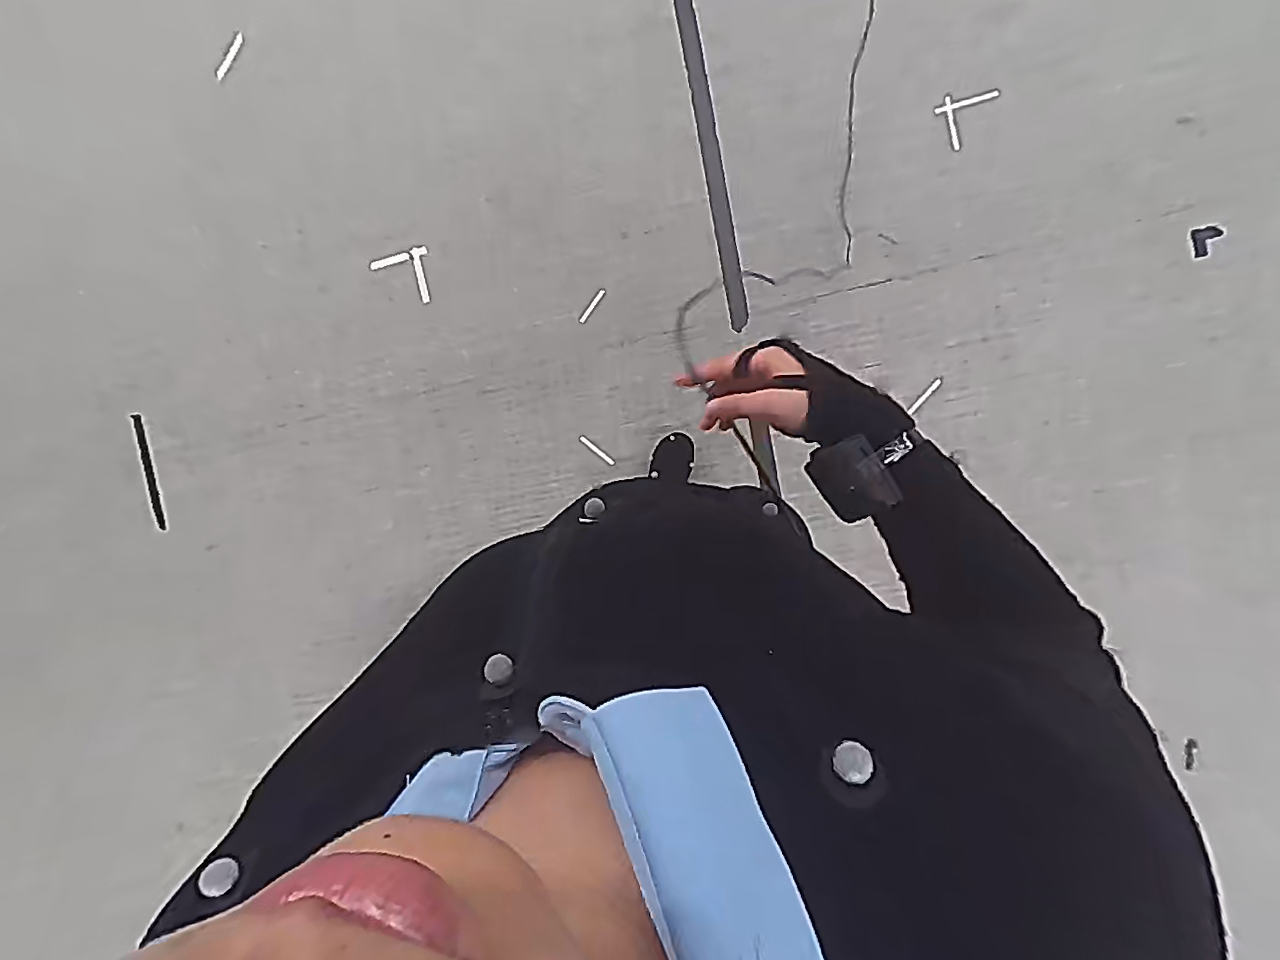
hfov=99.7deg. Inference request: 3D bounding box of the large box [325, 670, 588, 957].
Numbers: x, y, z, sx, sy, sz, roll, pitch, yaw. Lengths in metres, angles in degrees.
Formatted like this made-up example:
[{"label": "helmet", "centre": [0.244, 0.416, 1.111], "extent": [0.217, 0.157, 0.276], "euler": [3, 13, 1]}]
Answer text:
[{"label": "large box", "centre": [-0.388, 0.722, 1.235], "extent": [0.408, 0.320, 0.320], "euler": [37, 95, 5]}]
